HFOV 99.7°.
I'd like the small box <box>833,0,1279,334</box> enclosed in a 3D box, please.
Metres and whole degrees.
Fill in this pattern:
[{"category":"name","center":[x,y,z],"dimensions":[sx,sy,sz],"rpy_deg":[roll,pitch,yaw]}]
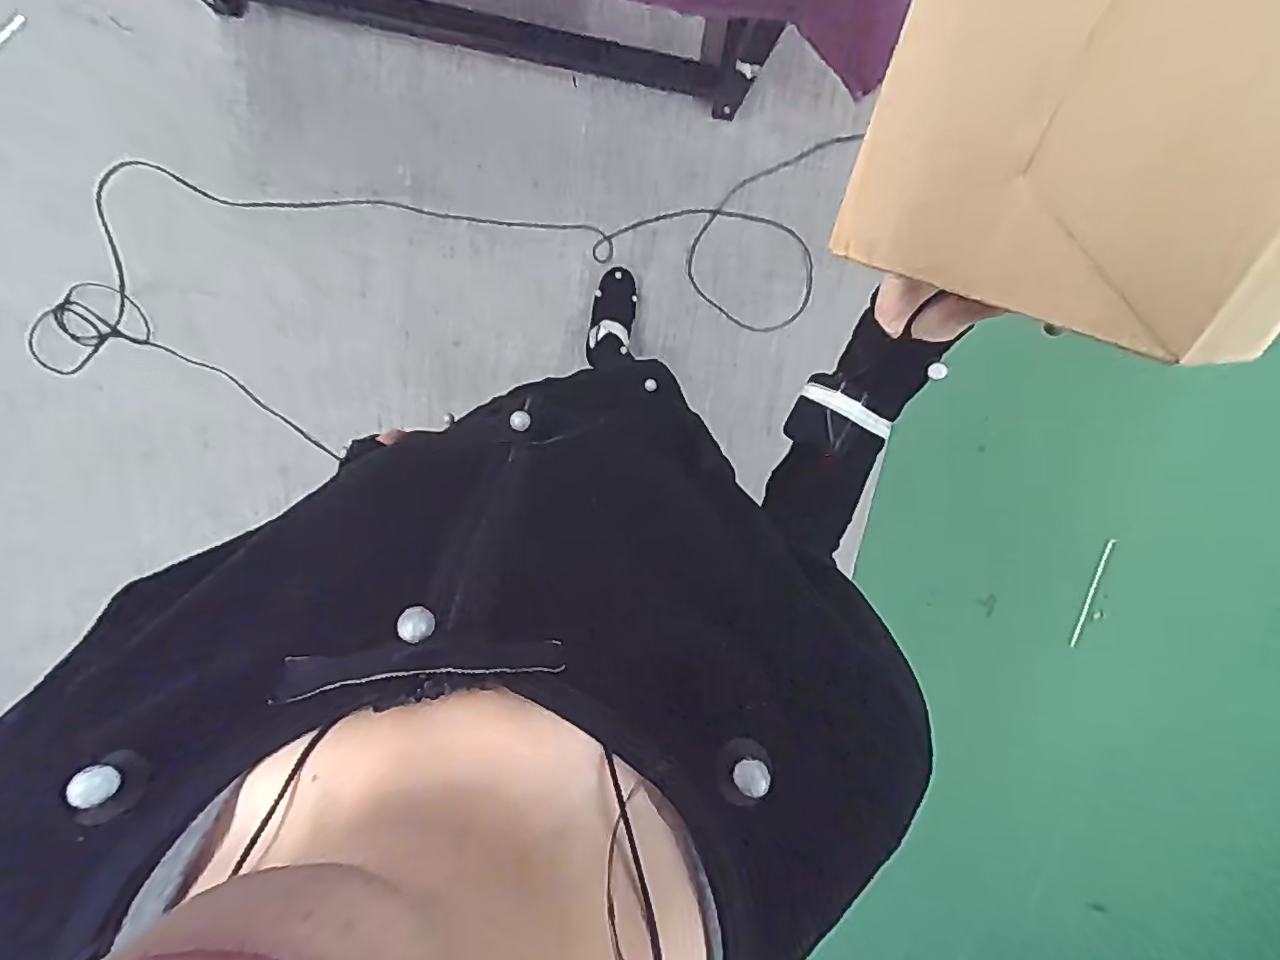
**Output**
[{"category":"small box","center":[0.232,-0.175,0.259],"dimensions":[0.176,0.179,0.168],"rpy_deg":[-9,126,-35]}]
